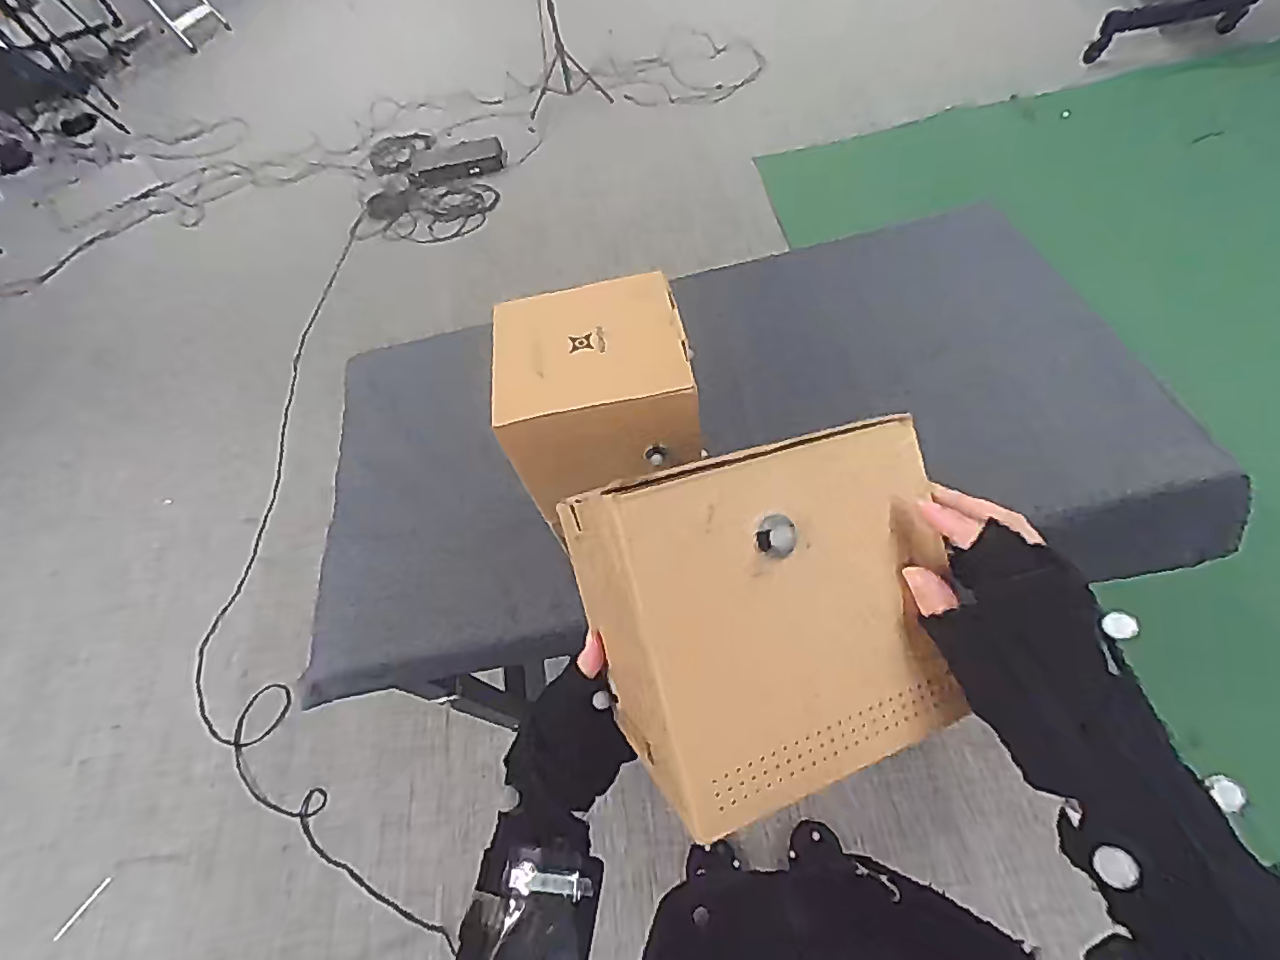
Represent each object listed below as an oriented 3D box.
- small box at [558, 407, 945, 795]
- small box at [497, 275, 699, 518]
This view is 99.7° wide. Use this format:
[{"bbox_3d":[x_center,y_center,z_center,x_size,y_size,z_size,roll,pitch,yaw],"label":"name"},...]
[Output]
[{"bbox_3d":[0.061,0.065,0.354,0.179,0.168,0.176,-14,91,-18],"label":"small box"},{"bbox_3d":[-0.036,-0.080,0.569,0.179,0.176,0.168,-12,55,3],"label":"small box"}]
